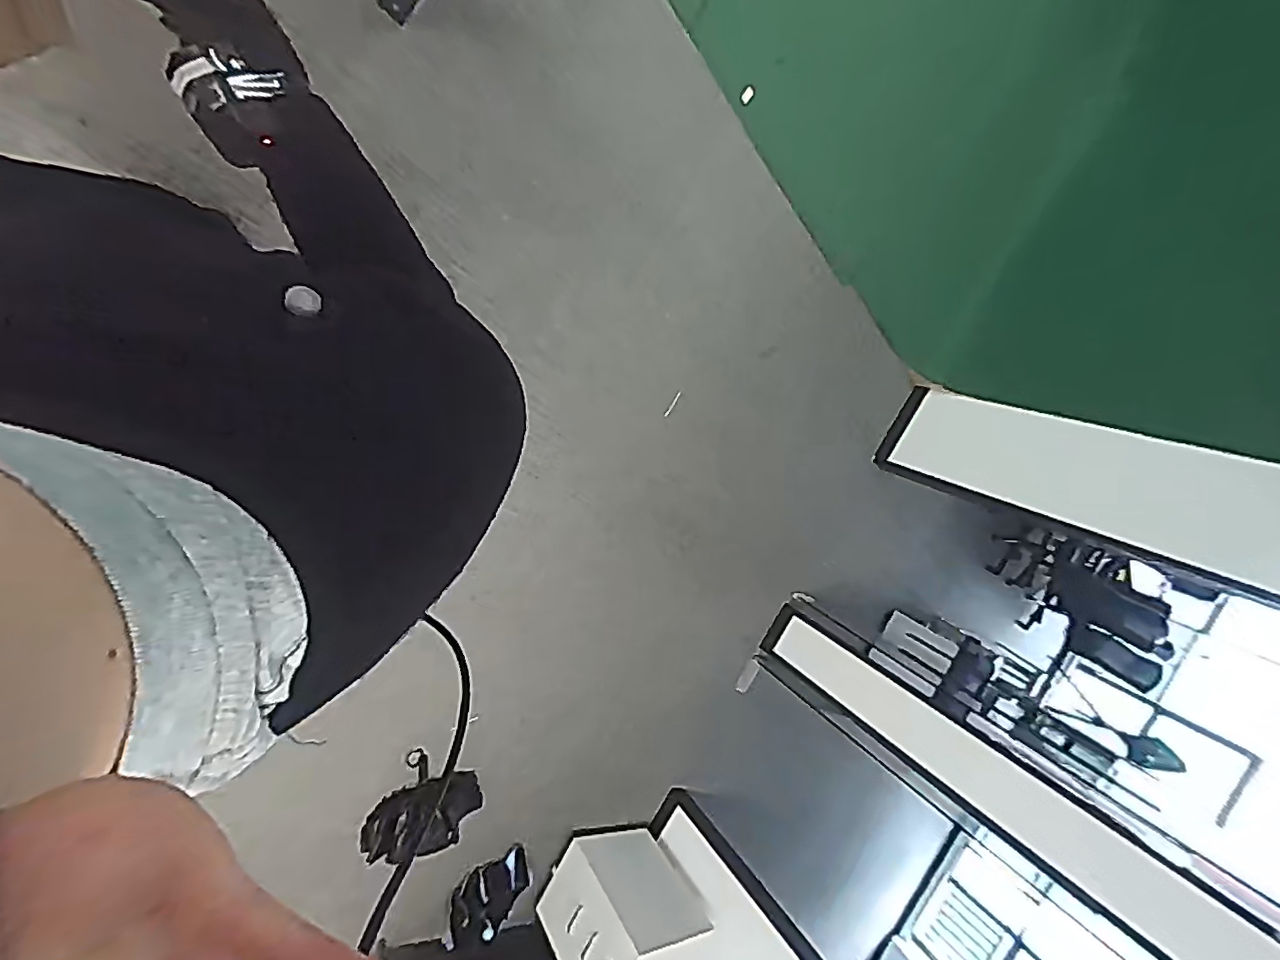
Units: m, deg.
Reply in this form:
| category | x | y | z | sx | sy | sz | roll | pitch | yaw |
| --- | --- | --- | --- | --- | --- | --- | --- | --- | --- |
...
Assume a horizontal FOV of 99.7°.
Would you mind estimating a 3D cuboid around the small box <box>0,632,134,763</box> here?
| category | x | y | z | sx | sy | sz | roll | pitch | yaw |
| --- | --- | --- | --- | --- | --- | --- | --- | --- | --- |
| small box | -1.291 | 0.482 | 1.218 | 0.168 | 0.176 | 0.179 | -26 | 122 | -27 |
